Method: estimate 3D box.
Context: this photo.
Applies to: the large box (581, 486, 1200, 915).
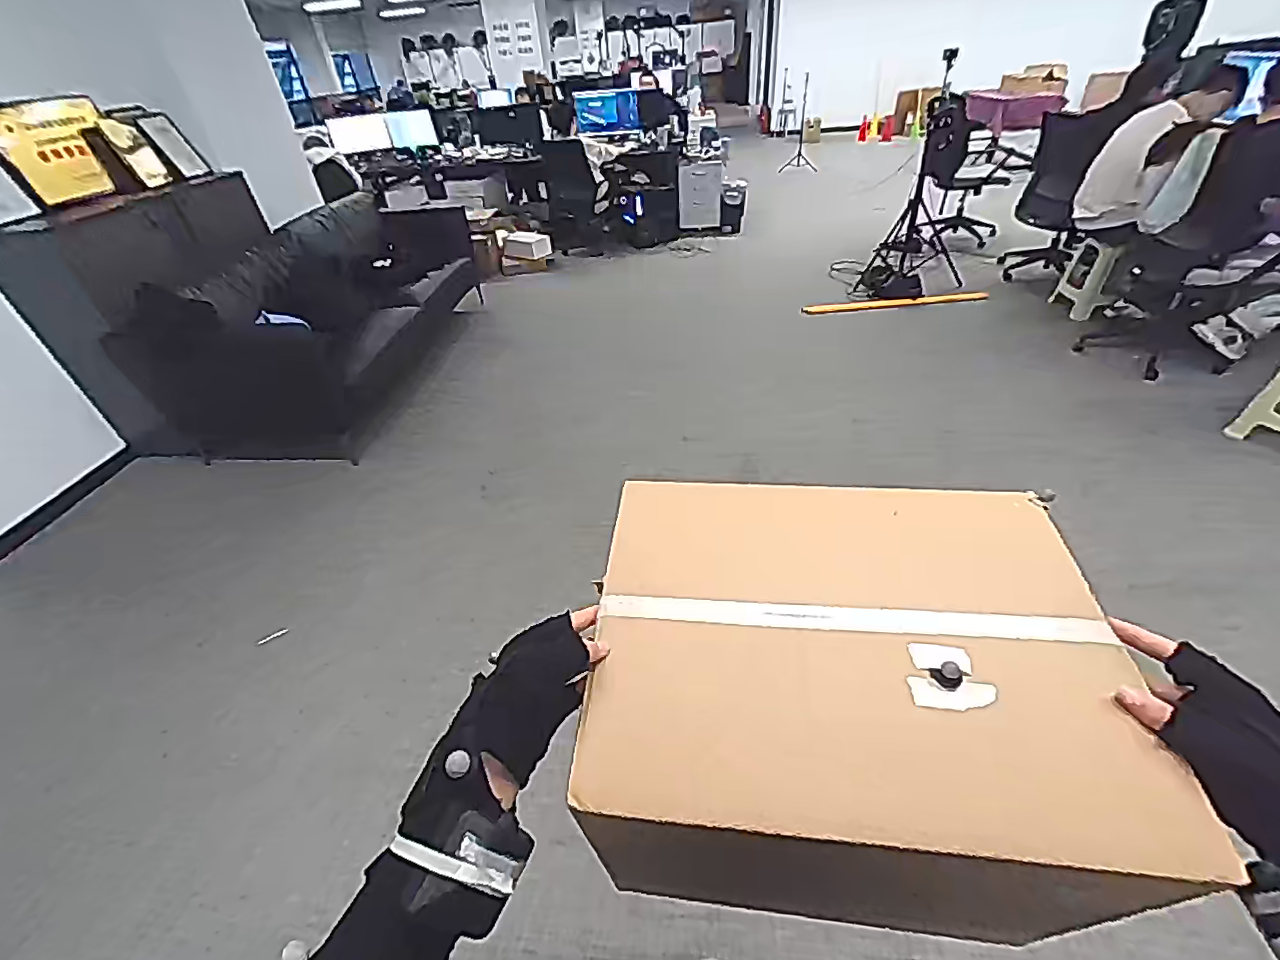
[{"bbox_3d":[0.178,0.221,0.565,0.408,0.320,0.320,1,46,8],"label":"large box"}]
